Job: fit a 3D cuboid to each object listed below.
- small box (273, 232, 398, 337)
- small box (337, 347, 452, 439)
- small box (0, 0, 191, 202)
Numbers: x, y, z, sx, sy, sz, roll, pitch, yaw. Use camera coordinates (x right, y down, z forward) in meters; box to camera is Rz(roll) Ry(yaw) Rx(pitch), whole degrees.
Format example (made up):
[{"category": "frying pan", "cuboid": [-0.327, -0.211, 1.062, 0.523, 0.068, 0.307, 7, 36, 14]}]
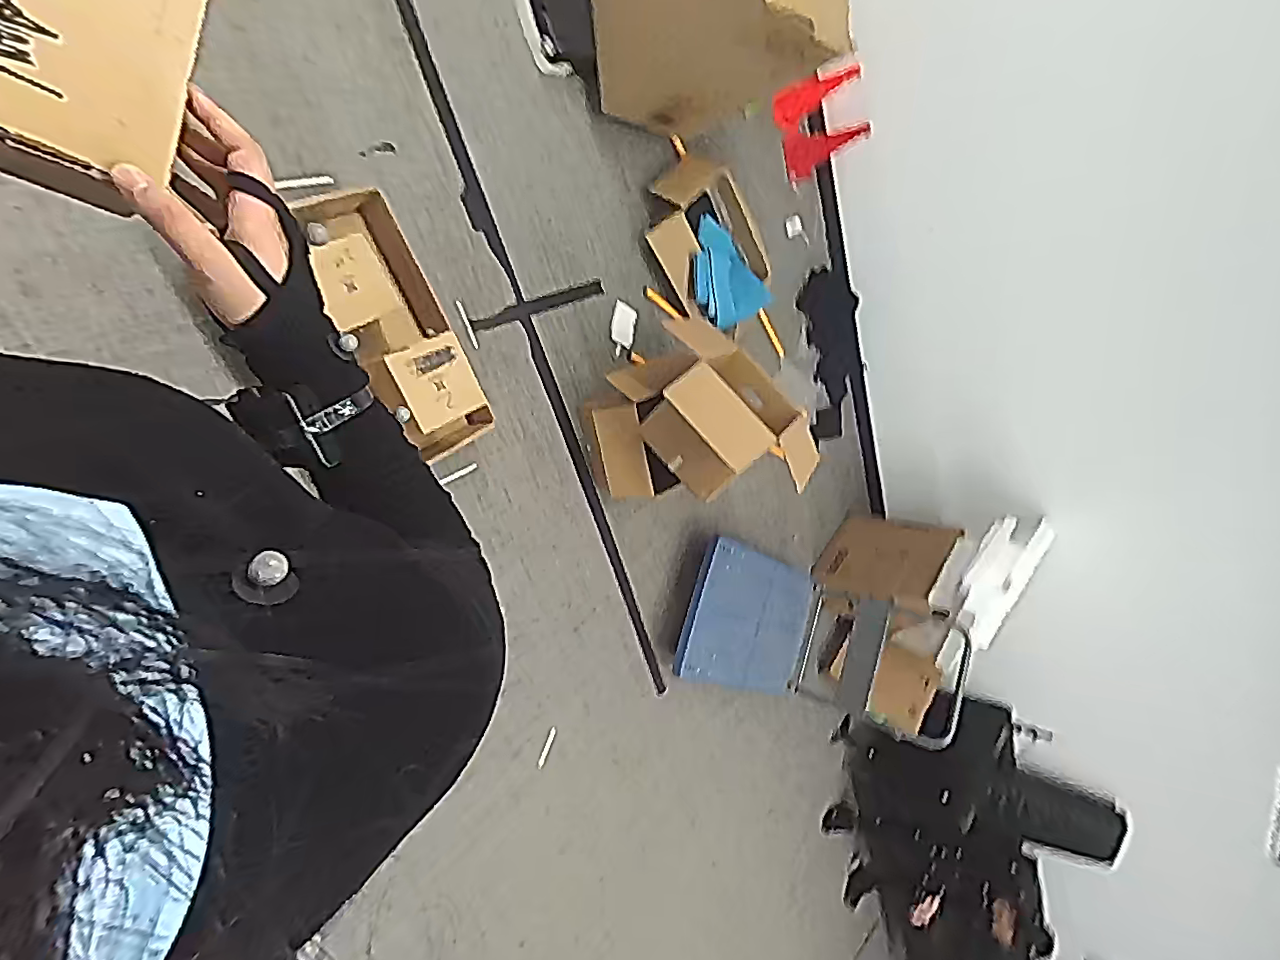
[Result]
[{"category": "small box", "cuboid": [-0.692, -0.436, 1.229, 0.168, 0.176, 0.179, -40, 121, -33]}, {"category": "small box", "cuboid": [-0.607, -0.214, 1.333, 0.179, 0.176, 0.168, -38, 117, -33]}, {"category": "small box", "cuboid": [-0.362, -0.273, 0.287, 0.168, 0.176, 0.179, 11, 96, -51]}]
